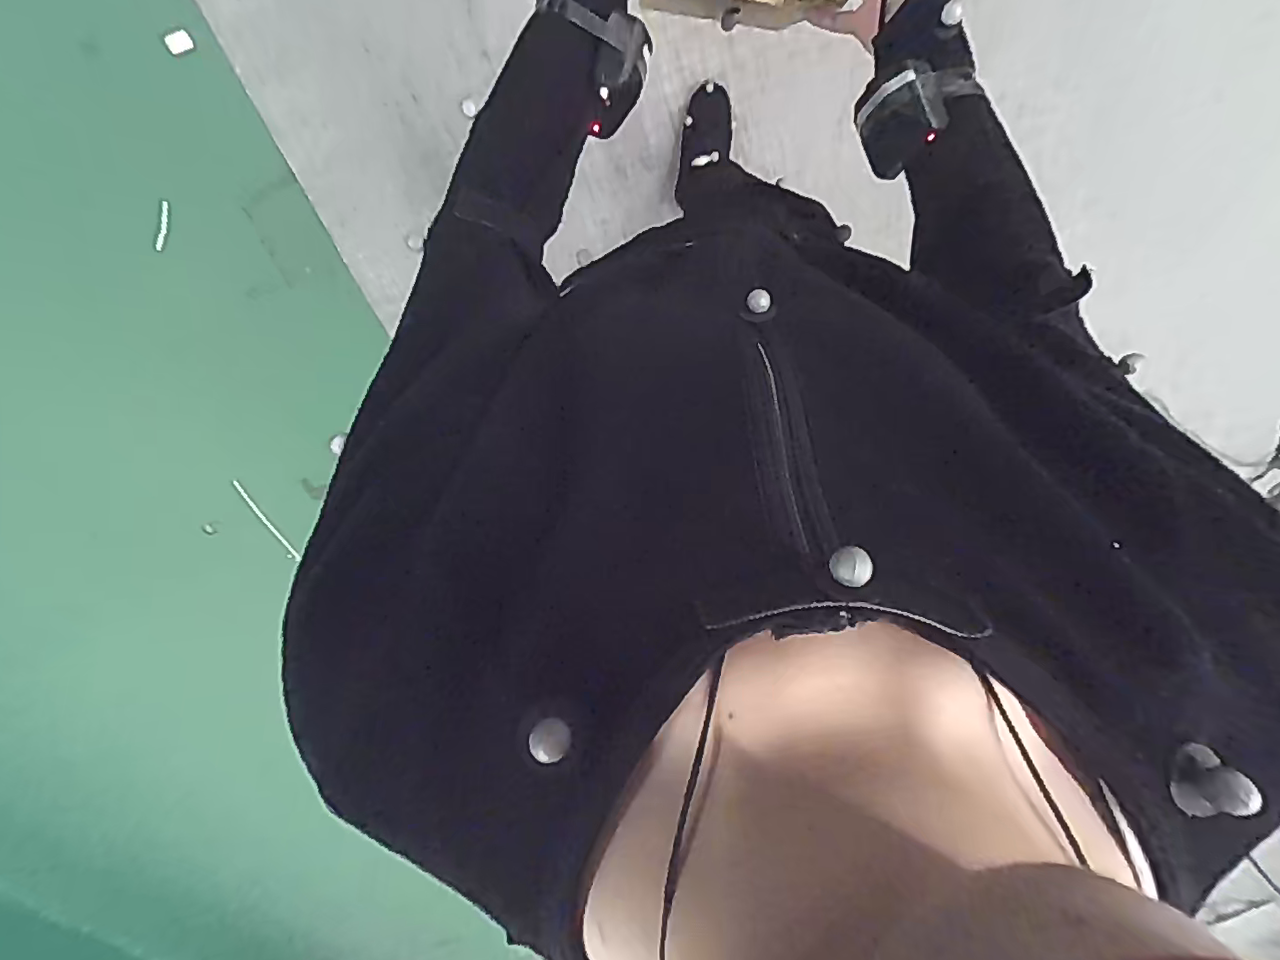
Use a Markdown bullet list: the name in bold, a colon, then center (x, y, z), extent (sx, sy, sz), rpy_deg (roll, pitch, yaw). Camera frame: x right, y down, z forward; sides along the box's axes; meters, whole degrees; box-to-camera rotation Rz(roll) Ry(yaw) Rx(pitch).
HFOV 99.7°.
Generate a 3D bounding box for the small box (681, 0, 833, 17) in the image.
- **small box**: center (0.098, -0.538, 0.476), extent (0.168, 0.176, 0.179), rpy_deg (0, 124, -10)
